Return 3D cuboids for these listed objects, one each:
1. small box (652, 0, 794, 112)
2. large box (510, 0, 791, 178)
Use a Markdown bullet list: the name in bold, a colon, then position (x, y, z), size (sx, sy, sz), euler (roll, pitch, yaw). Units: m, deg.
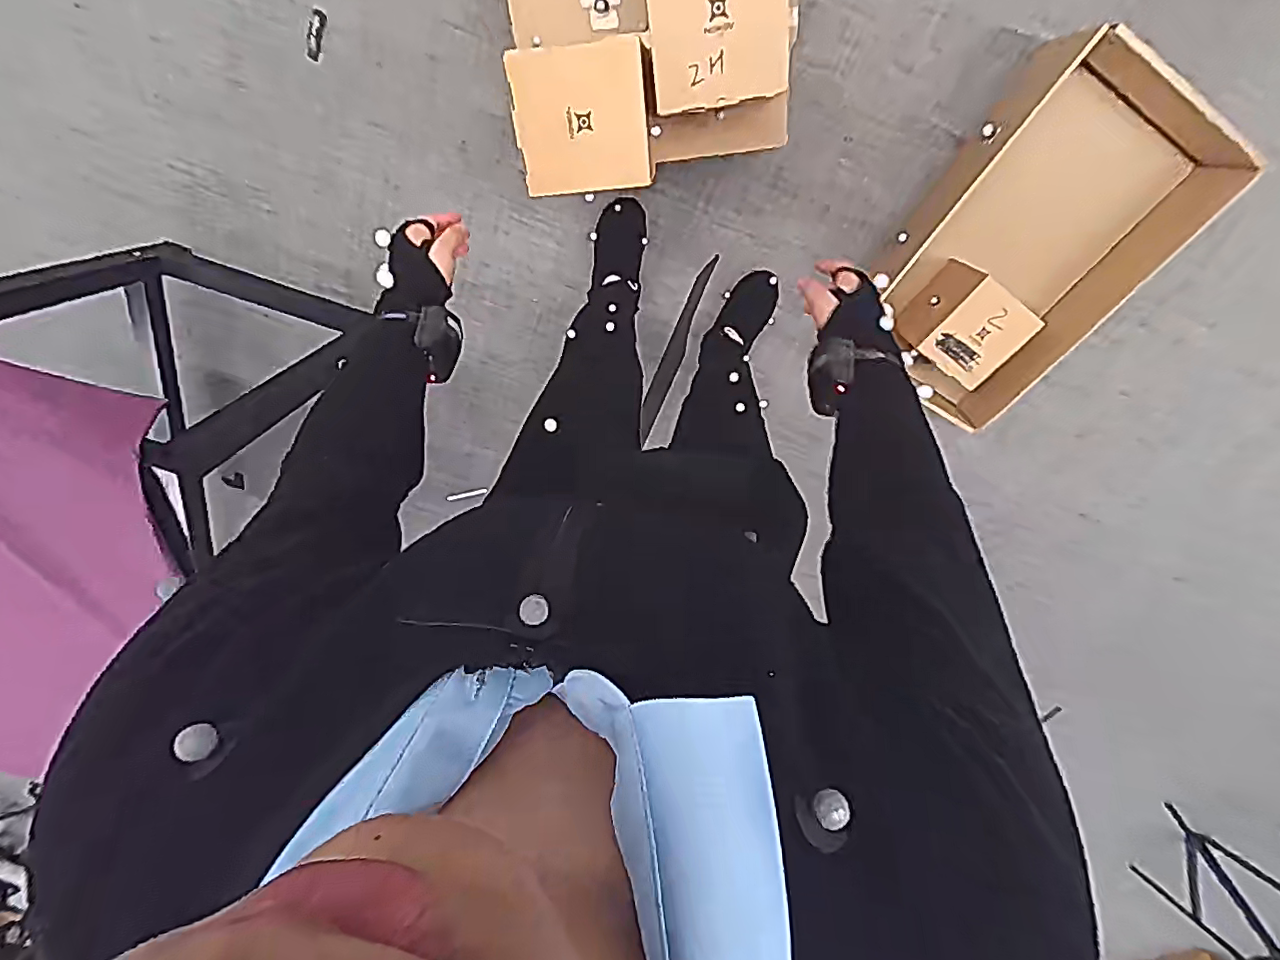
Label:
- **small box**: position (0.102, -0.590, 0.695), size (0.168, 0.176, 0.179), euler (-4, 123, 9)
- **large box**: position (0.032, -0.724, 0.910), size (0.408, 0.320, 0.320), euler (-3, 123, 9)
